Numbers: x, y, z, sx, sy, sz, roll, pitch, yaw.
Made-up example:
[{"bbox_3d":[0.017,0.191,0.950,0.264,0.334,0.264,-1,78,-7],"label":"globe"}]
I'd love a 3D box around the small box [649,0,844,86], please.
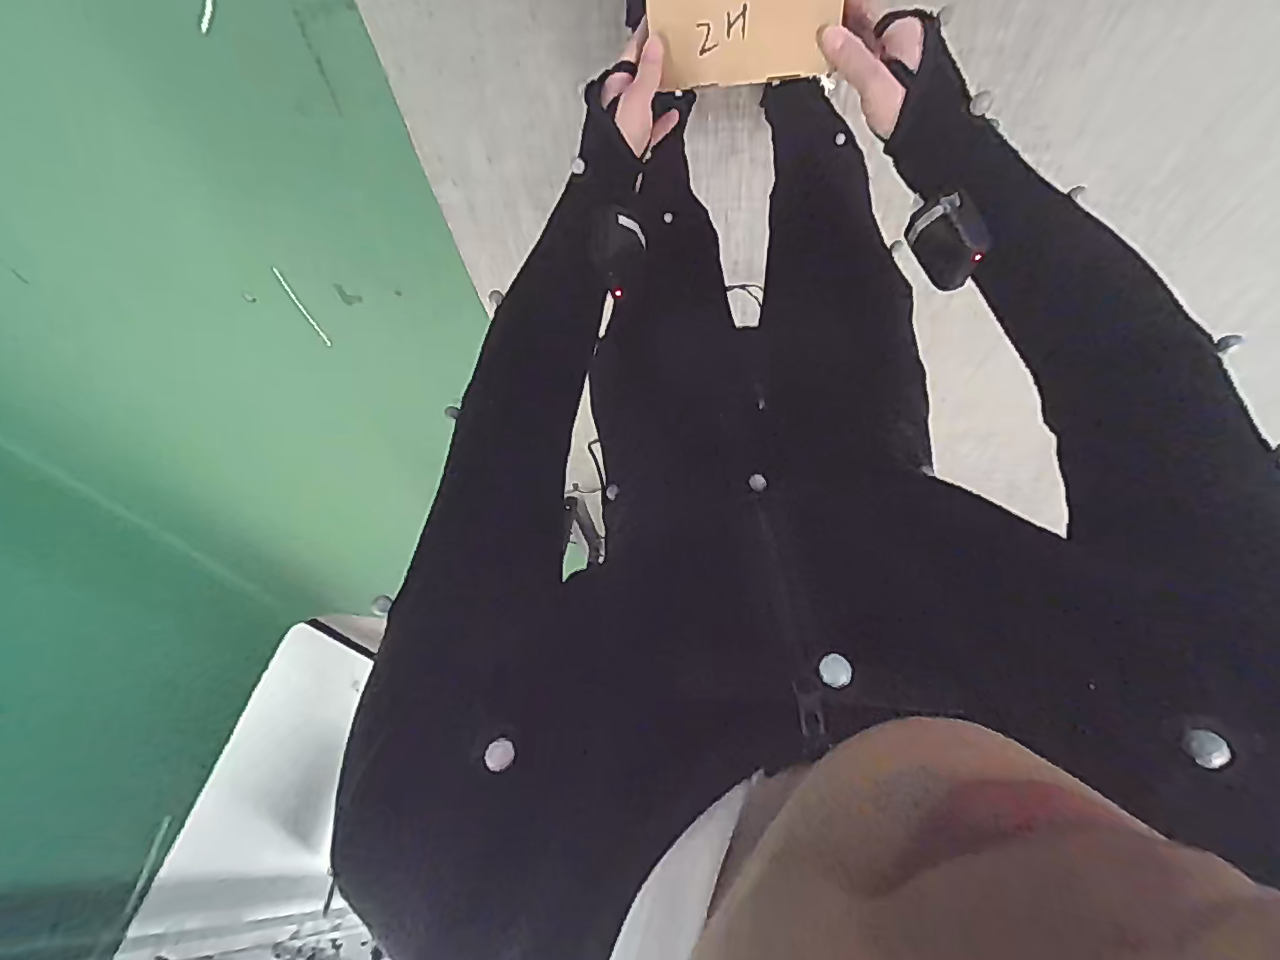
[{"bbox_3d":[0.101,-0.484,0.489,0.168,0.176,0.179,5,136,13],"label":"small box"}]
